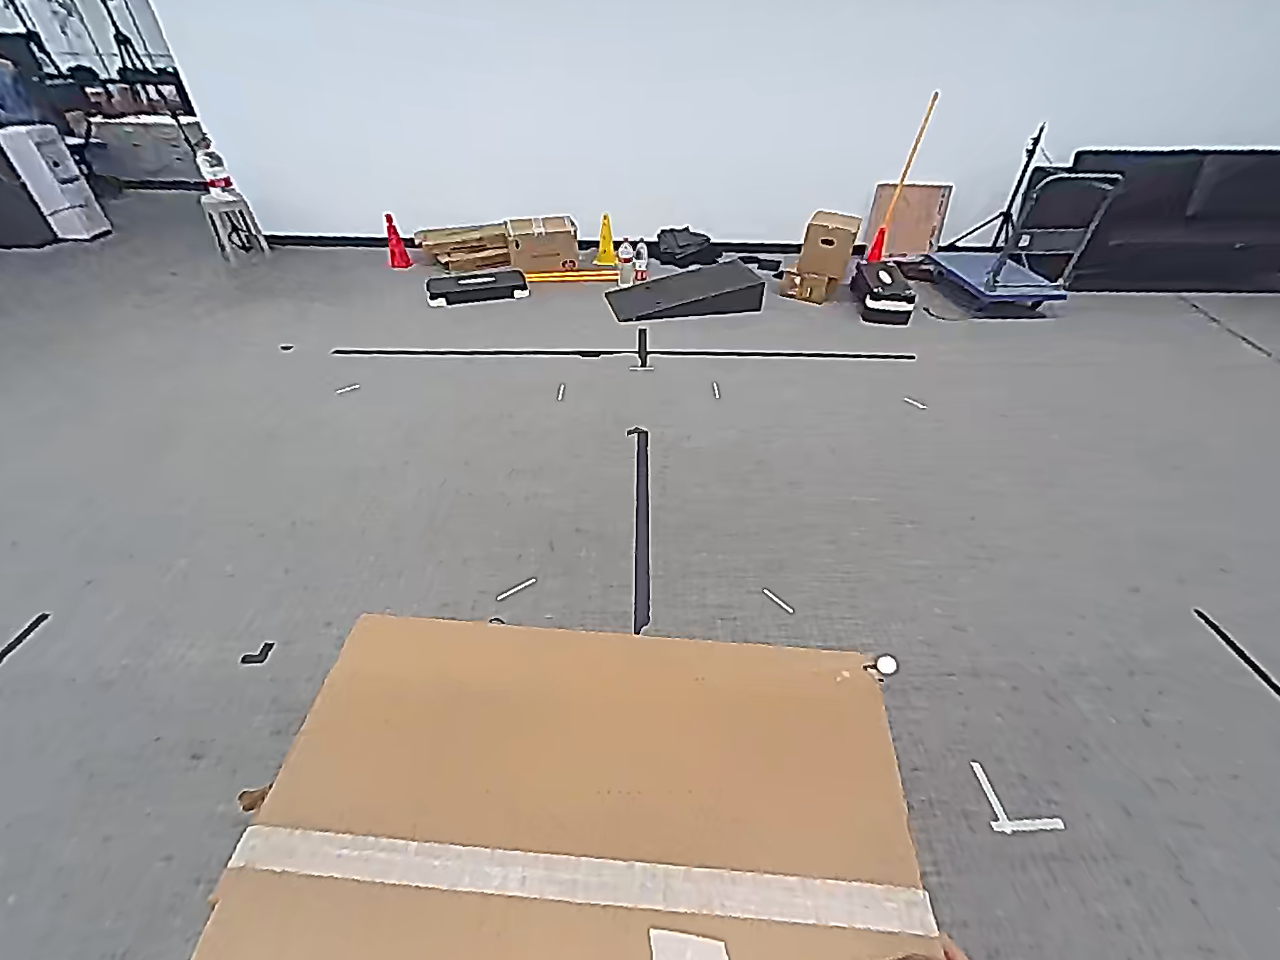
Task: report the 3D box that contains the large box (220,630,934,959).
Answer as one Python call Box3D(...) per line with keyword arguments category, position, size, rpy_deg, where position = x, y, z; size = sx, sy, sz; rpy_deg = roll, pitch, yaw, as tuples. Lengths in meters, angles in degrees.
Box3D(category="large box", position=(-0.034, 0.344, 0.432), size=(0.408, 0.320, 0.320), rpy_deg=(4, 48, 2))
